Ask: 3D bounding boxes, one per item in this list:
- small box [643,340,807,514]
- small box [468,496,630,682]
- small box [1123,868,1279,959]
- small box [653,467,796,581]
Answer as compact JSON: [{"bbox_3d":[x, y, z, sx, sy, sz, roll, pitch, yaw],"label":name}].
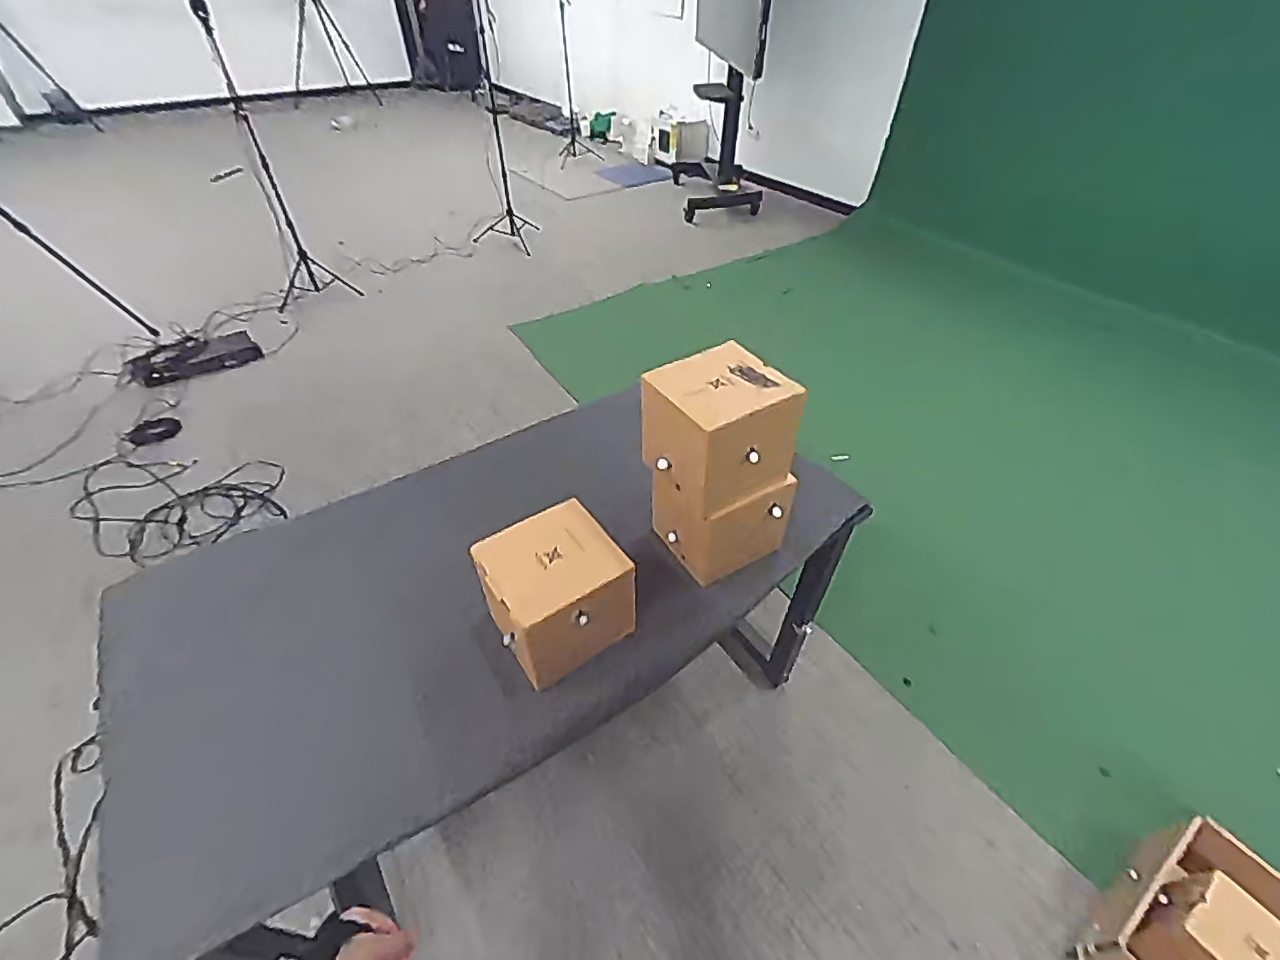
[{"bbox_3d":[0.116,-0.081,0.816,0.179,0.176,0.168,-24,48,-22],"label":"small box"},{"bbox_3d":[-0.127,0.162,0.801,0.179,0.176,0.168,-26,50,-26],"label":"small box"},{"bbox_3d":[1.107,0.909,1.048,0.168,0.176,0.179,-24,50,-23],"label":"small box"},{"bbox_3d":[0.133,0.039,0.928,0.179,0.176,0.168,-22,47,-21],"label":"small box"}]
